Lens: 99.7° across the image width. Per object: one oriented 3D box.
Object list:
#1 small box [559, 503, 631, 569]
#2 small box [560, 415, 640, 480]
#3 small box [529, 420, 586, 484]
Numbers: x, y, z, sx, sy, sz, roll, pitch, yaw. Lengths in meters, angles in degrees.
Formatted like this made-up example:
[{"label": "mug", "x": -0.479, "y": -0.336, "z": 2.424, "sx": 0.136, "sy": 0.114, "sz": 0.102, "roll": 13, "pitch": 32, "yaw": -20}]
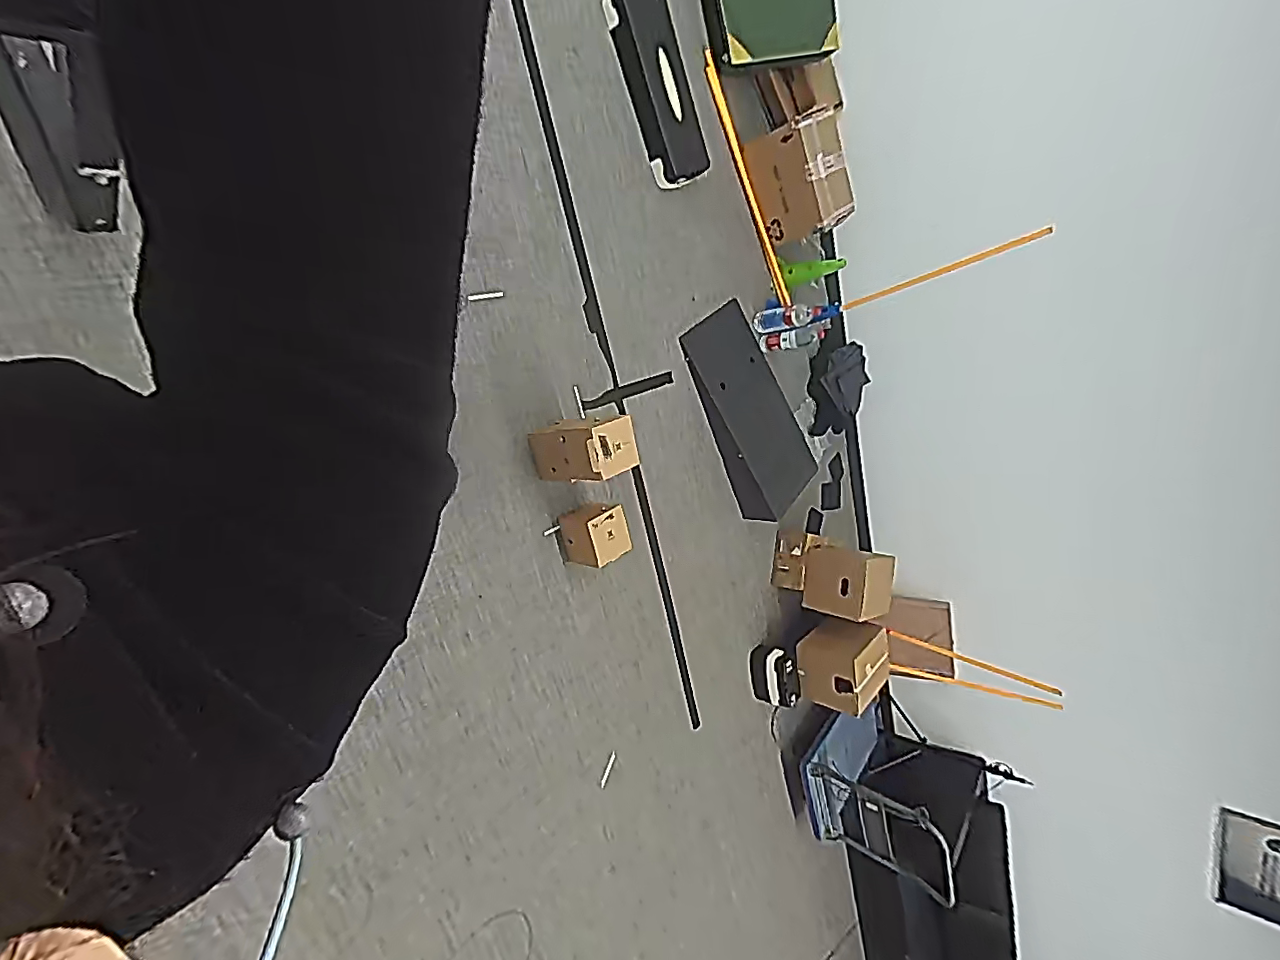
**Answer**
[{"label": "small box", "x": -0.161, "y": 0.193, "z": 1.920, "sx": 0.168, "sy": 0.176, "sz": 0.179, "roll": -28, "pitch": 112, "yaw": -42}, {"label": "small box", "x": -0.132, "y": -0.102, "z": 1.702, "sx": 0.179, "sy": 0.176, "sz": 0.168, "roll": -26, "pitch": 111, "yaw": -43}, {"label": "small box", "x": -0.245, "y": -0.100, "z": 1.821, "sx": 0.168, "sy": 0.176, "sz": 0.179, "roll": -29, "pitch": 112, "yaw": -41}]
